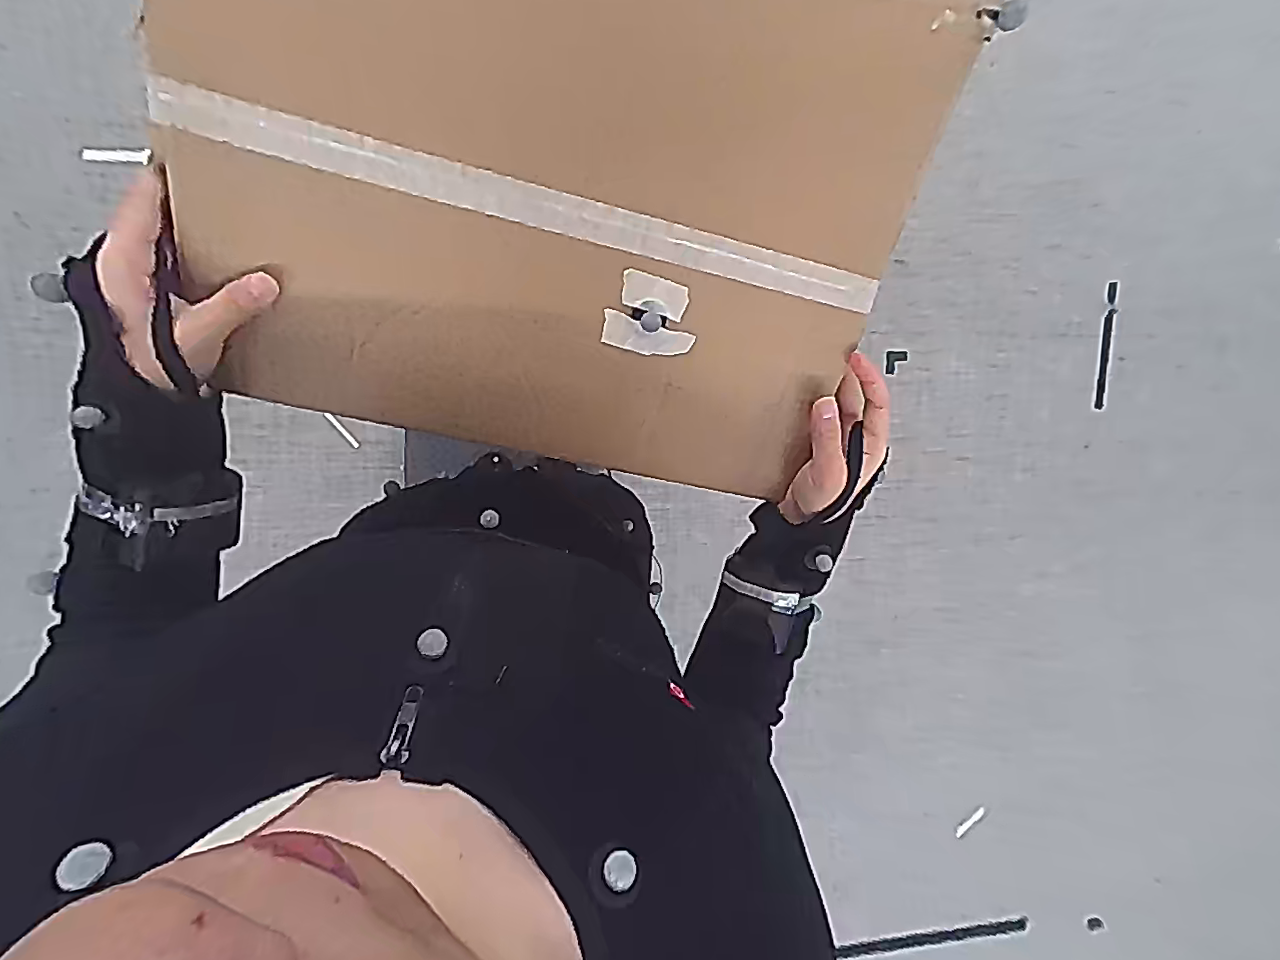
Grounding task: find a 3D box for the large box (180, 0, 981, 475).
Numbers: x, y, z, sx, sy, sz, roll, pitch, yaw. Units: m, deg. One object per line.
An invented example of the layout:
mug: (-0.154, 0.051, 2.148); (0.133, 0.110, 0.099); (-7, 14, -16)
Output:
large box: (-0.056, -0.237, 0.446); (0.408, 0.320, 0.320); (11, 117, -11)
